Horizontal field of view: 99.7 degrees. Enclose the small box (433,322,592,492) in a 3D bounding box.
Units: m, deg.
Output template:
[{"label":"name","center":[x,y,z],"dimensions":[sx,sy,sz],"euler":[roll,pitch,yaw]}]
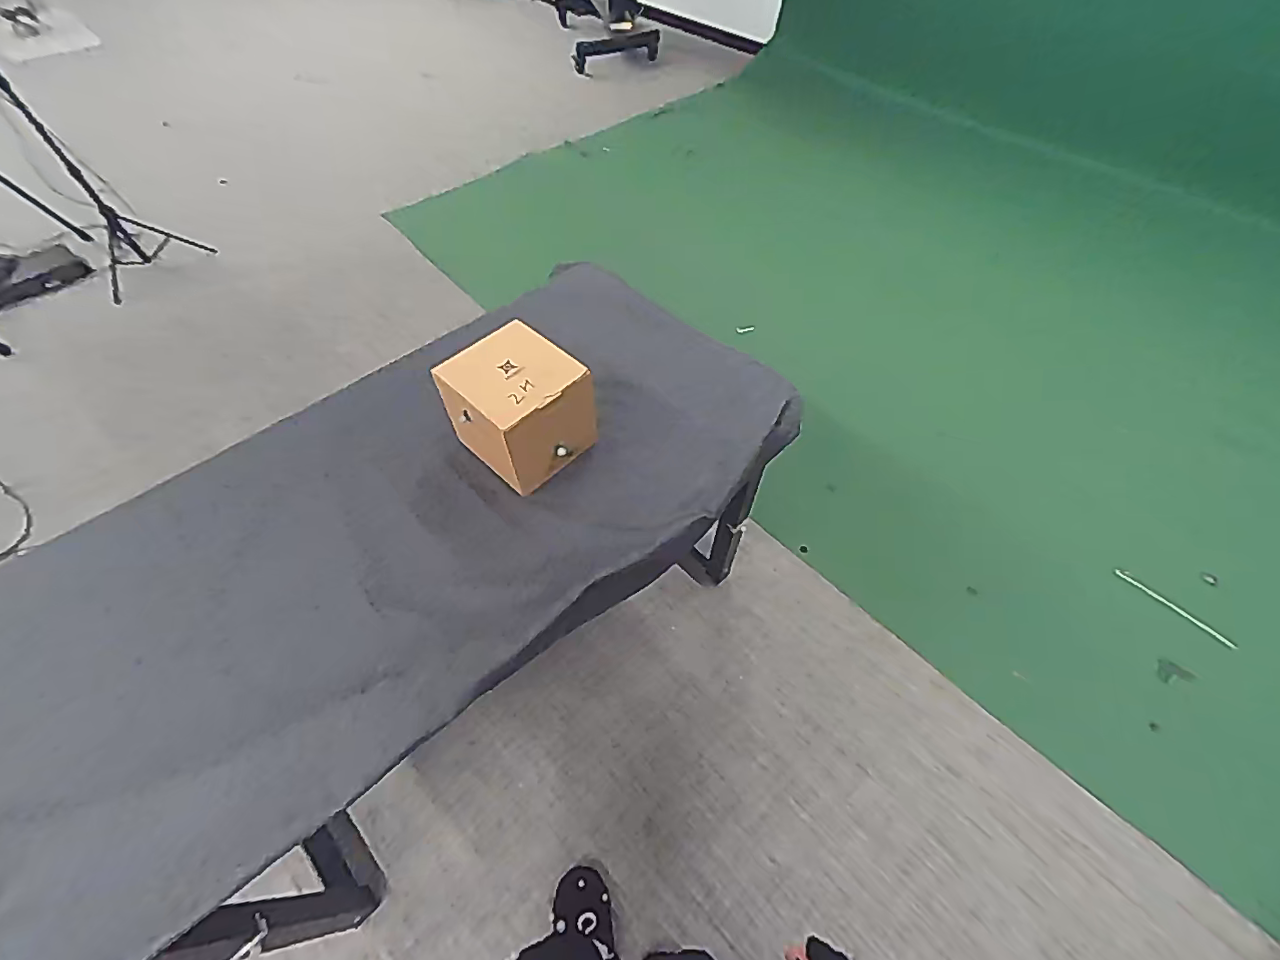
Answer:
[{"label":"small box","center":[-0.194,-0.114,0.869],"dimensions":[0.179,0.176,0.168],"euler":[38,63,23]}]
